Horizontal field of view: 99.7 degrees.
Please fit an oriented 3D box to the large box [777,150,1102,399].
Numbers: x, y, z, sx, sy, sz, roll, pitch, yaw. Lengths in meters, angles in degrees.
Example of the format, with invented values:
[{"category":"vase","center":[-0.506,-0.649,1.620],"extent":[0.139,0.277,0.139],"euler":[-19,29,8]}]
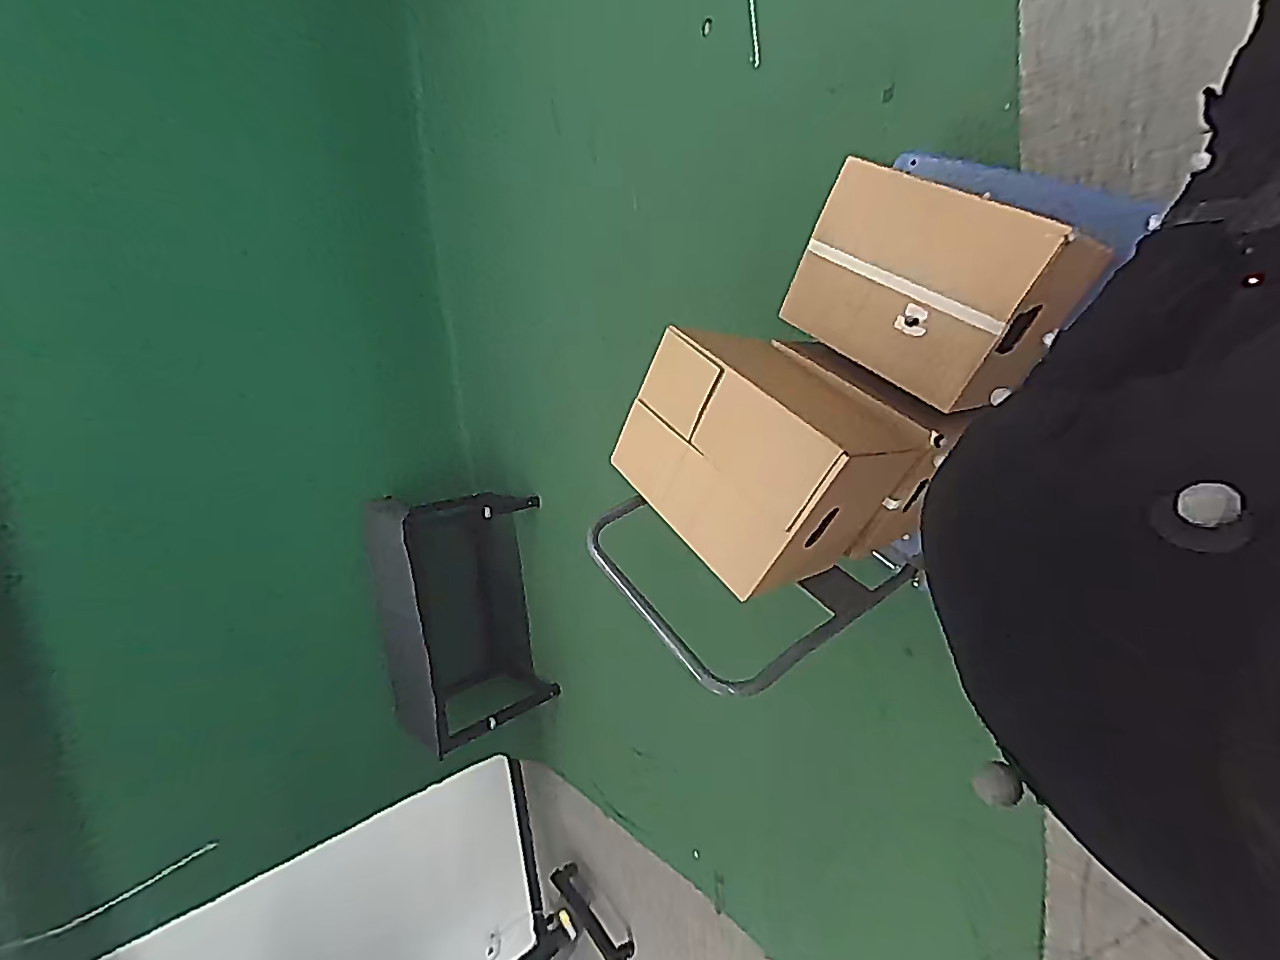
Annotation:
[{"category":"large box","center":[0.562,-0.396,1.059],"extent":[0.408,0.320,0.320],"euler":[44,130,32]}]
